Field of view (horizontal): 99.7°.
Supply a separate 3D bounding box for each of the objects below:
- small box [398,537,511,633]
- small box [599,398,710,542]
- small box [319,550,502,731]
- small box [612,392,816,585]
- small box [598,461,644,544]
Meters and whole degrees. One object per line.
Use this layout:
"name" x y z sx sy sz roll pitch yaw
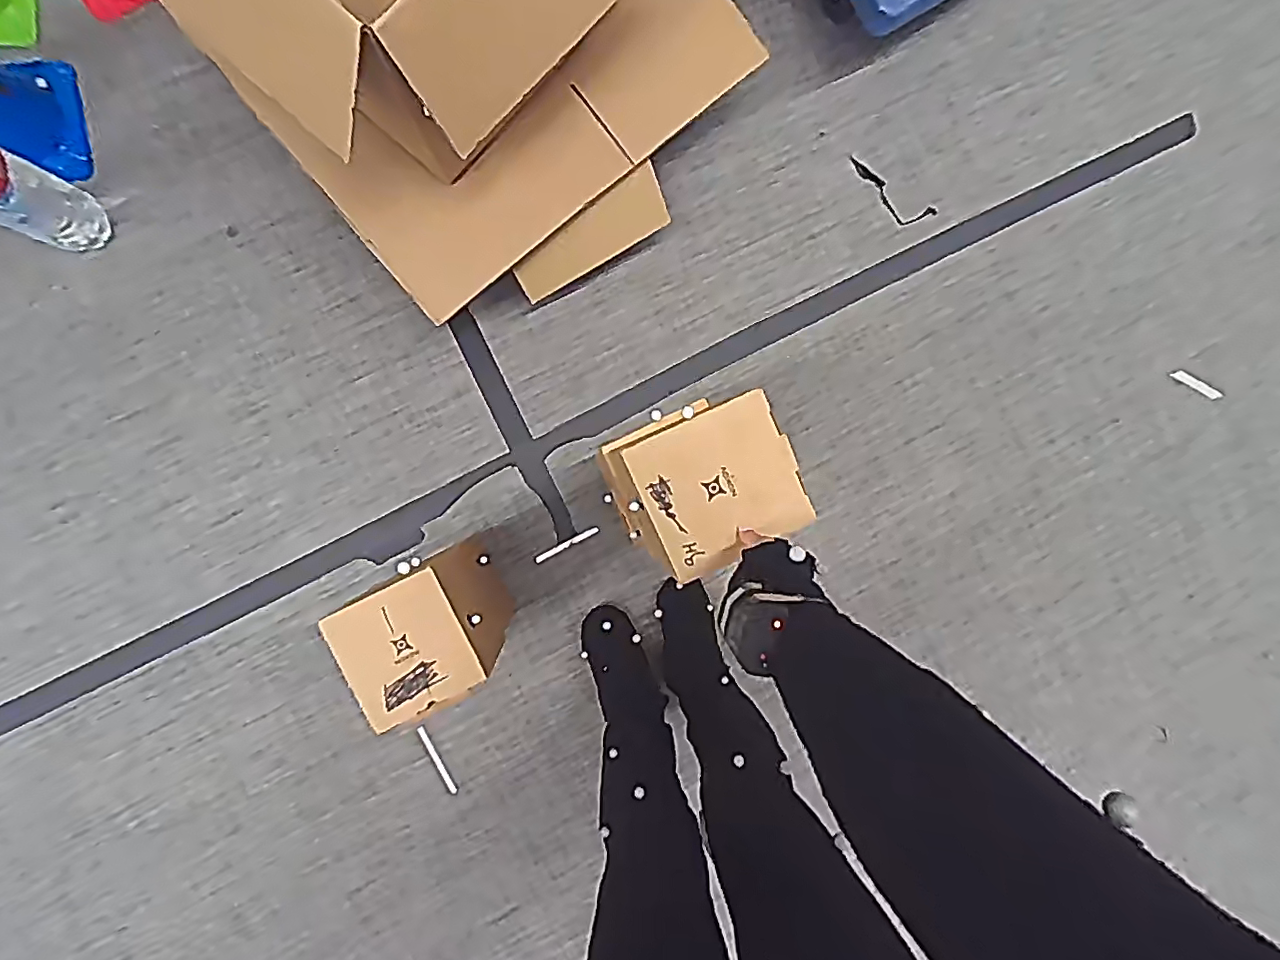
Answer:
"small box" -0.345 0.218 0.964 0.179 0.176 0.168 -29 95 -3
"small box" 0.046 -0.006 0.832 0.168 0.176 0.179 -27 96 -6
"small box" -0.322 0.224 0.801 0.168 0.176 0.179 -26 94 -4
"small box" 0.080 0.004 0.672 0.179 0.176 0.168 -25 96 -7
"small box" 0.032 -0.001 0.994 0.179 0.176 0.168 -22 95 -6
